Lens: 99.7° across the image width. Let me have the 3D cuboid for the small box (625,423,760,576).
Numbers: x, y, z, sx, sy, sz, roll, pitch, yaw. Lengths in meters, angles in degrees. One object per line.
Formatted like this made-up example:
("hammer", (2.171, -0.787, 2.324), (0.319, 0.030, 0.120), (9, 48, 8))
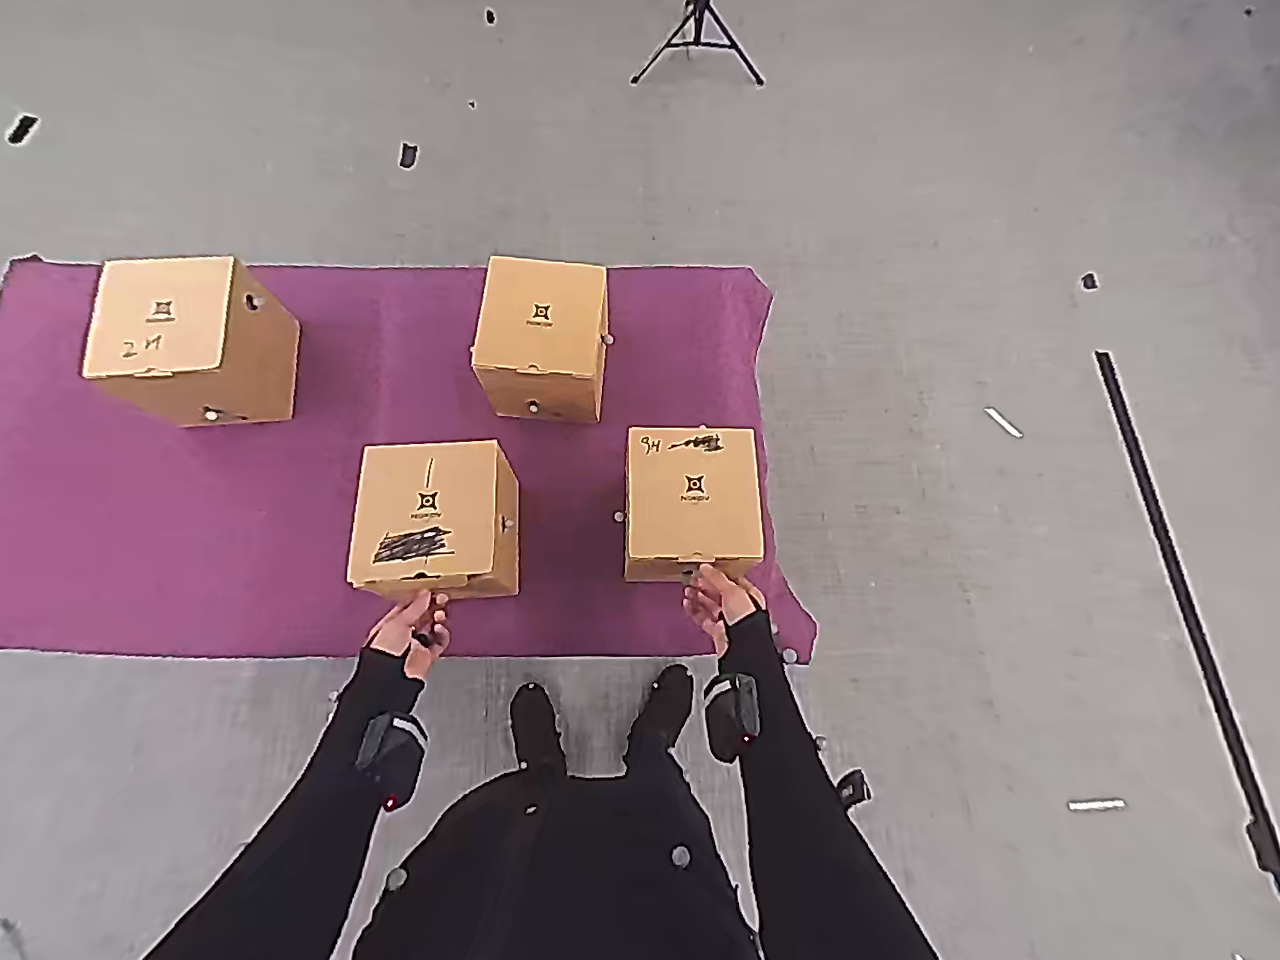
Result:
("small box", (0.064, 0.036, 0.752), (0.168, 0.176, 0.179), (1, 70, -2))

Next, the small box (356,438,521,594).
("small box", (-0.256, 0.057, 0.731), (0.168, 0.176, 0.179), (-3, 70, -4))

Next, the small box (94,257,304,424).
("small box", (-0.623, -0.198, 0.791), (0.168, 0.176, 0.179), (-4, 74, -4))

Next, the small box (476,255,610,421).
("small box", (-0.136, -0.207, 0.822), (0.168, 0.176, 0.179), (5, 74, -1))
